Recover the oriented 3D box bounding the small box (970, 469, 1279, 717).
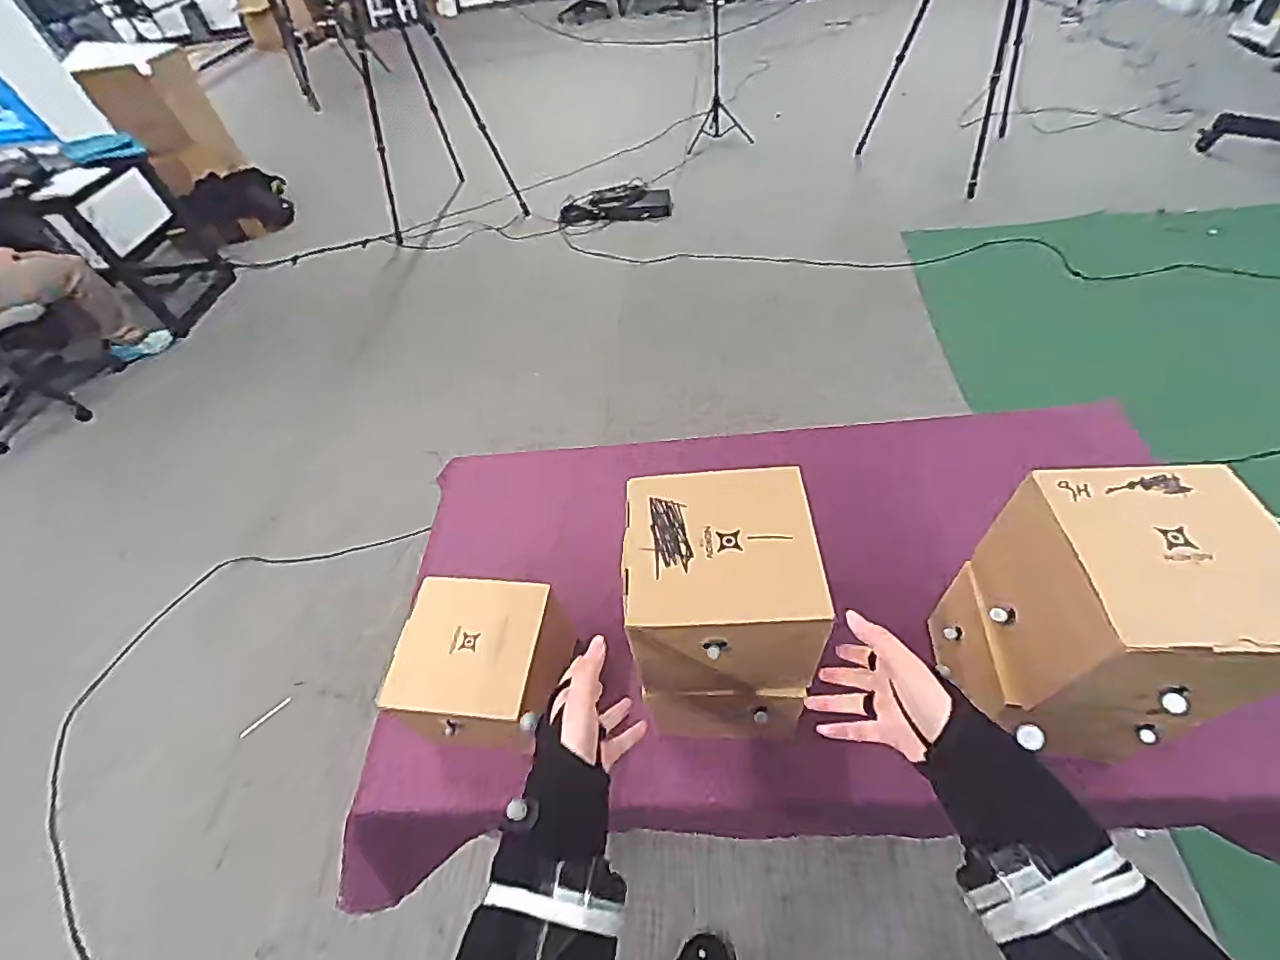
[{"bbox_3d":[0.444,0.110,0.504,0.168,0.176,0.179,-1,52,7],"label":"small box"}]

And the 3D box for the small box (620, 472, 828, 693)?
[{"bbox_3d":[0.080,0.112,0.560,0.179,0.176,0.168,-4,51,5],"label":"small box"}]

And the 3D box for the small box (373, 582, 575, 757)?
[{"bbox_3d":[-0.199,0.250,0.707,0.179,0.176,0.168,2,52,10],"label":"small box"}]

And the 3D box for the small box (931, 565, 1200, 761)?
[{"bbox_3d":[0.461,0.215,0.630,0.179,0.176,0.168,1,51,10],"label":"small box"}]

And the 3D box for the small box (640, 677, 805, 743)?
[{"bbox_3d":[0.100,0.221,0.682,0.179,0.176,0.168,-2,50,8],"label":"small box"}]
